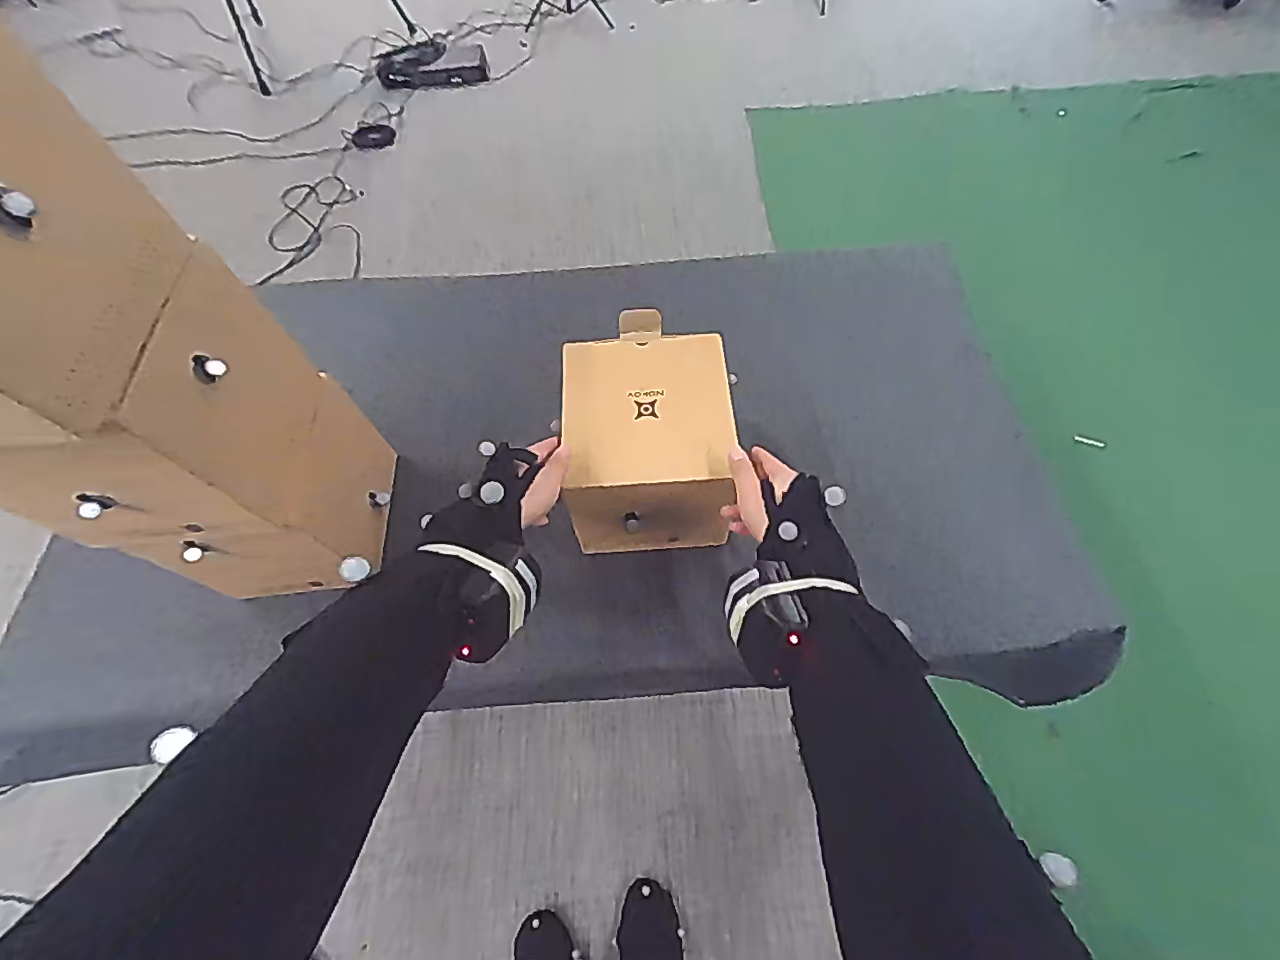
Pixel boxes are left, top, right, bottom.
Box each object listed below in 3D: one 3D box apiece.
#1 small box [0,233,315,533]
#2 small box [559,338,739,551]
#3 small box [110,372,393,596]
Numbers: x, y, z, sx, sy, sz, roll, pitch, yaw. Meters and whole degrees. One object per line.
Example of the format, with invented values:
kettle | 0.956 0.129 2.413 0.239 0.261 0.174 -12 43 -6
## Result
small box | -0.397 -0.065 0.434 0.168 0.176 0.179 -4 61 -1
small box | 0.010 -0.029 0.591 0.168 0.176 0.179 -3 60 1
small box | -0.386 0.010 0.581 0.168 0.176 0.179 -5 60 -1
